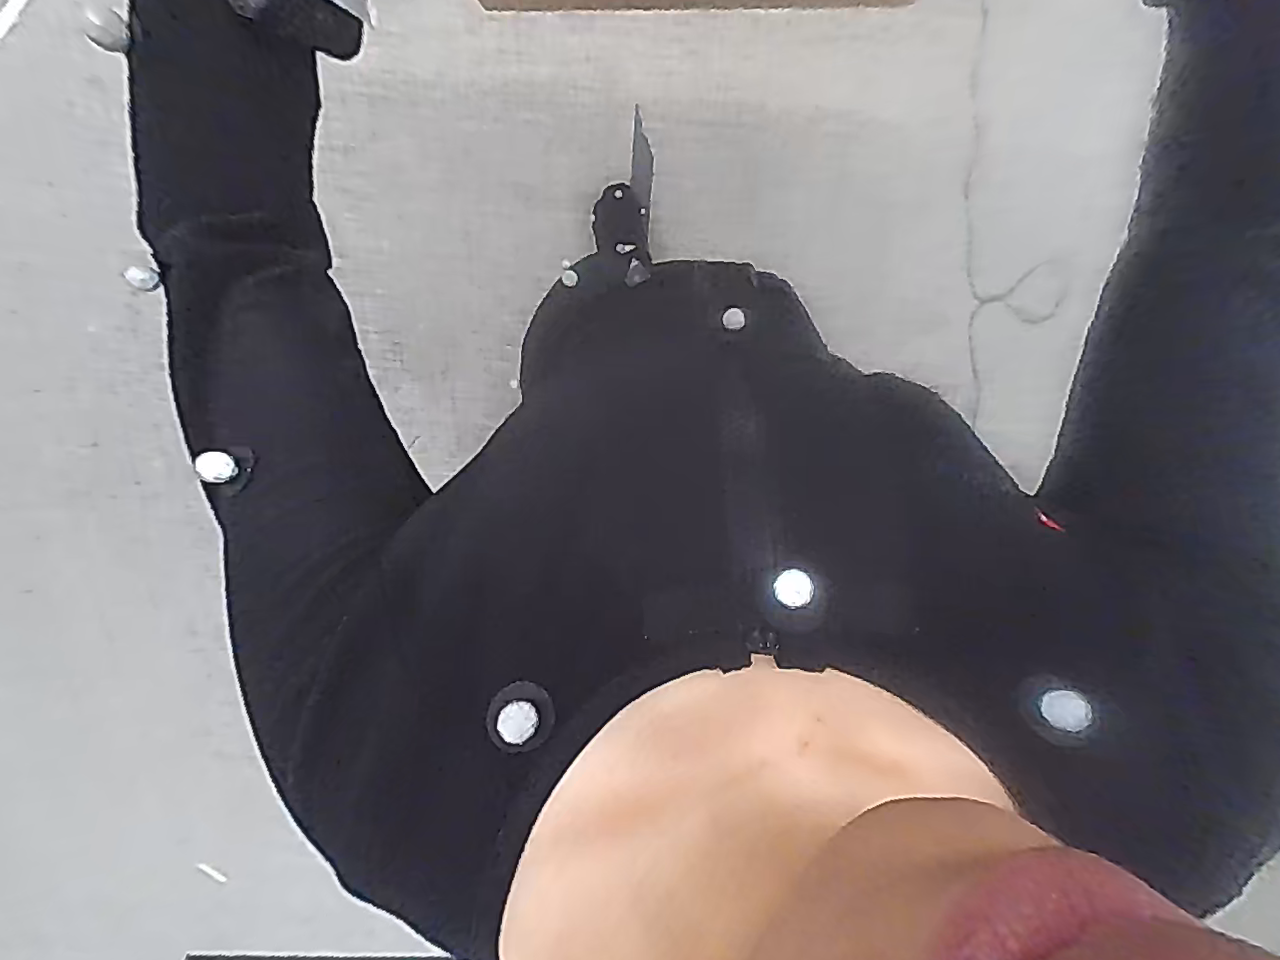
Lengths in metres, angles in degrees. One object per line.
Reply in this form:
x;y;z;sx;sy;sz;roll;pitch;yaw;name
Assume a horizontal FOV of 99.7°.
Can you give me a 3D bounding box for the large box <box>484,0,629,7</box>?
0.049;-0.517;0.305;0.408;0.320;0.320;-2;118;-1;large box
